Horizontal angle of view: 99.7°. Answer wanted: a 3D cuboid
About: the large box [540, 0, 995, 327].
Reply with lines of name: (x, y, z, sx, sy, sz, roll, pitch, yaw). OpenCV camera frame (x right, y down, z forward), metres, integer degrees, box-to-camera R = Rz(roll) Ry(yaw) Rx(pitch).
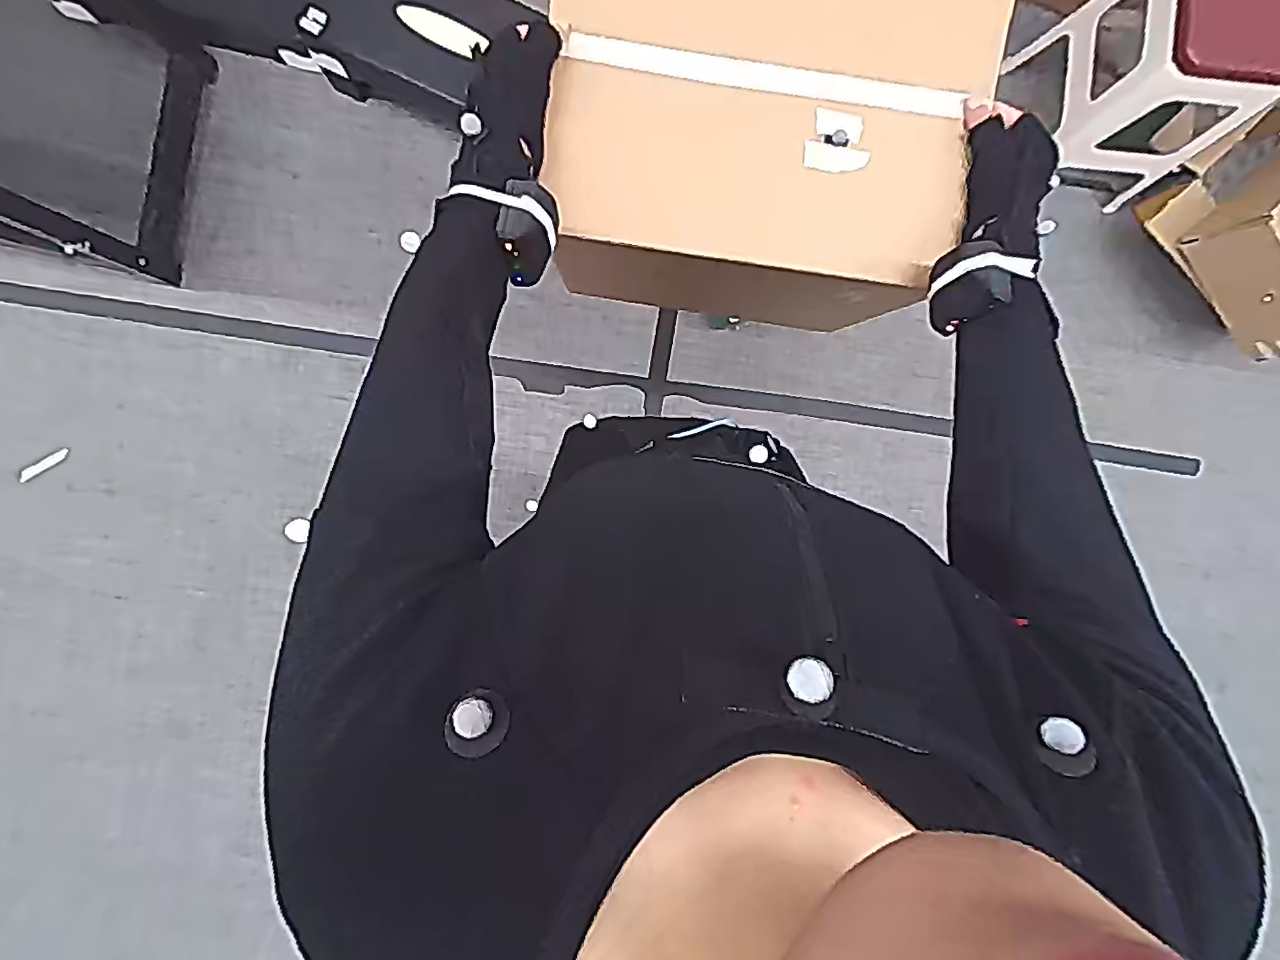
large box: (0.111, -0.383, 0.648, 0.408, 0.320, 0.320, 7, 99, -3)
